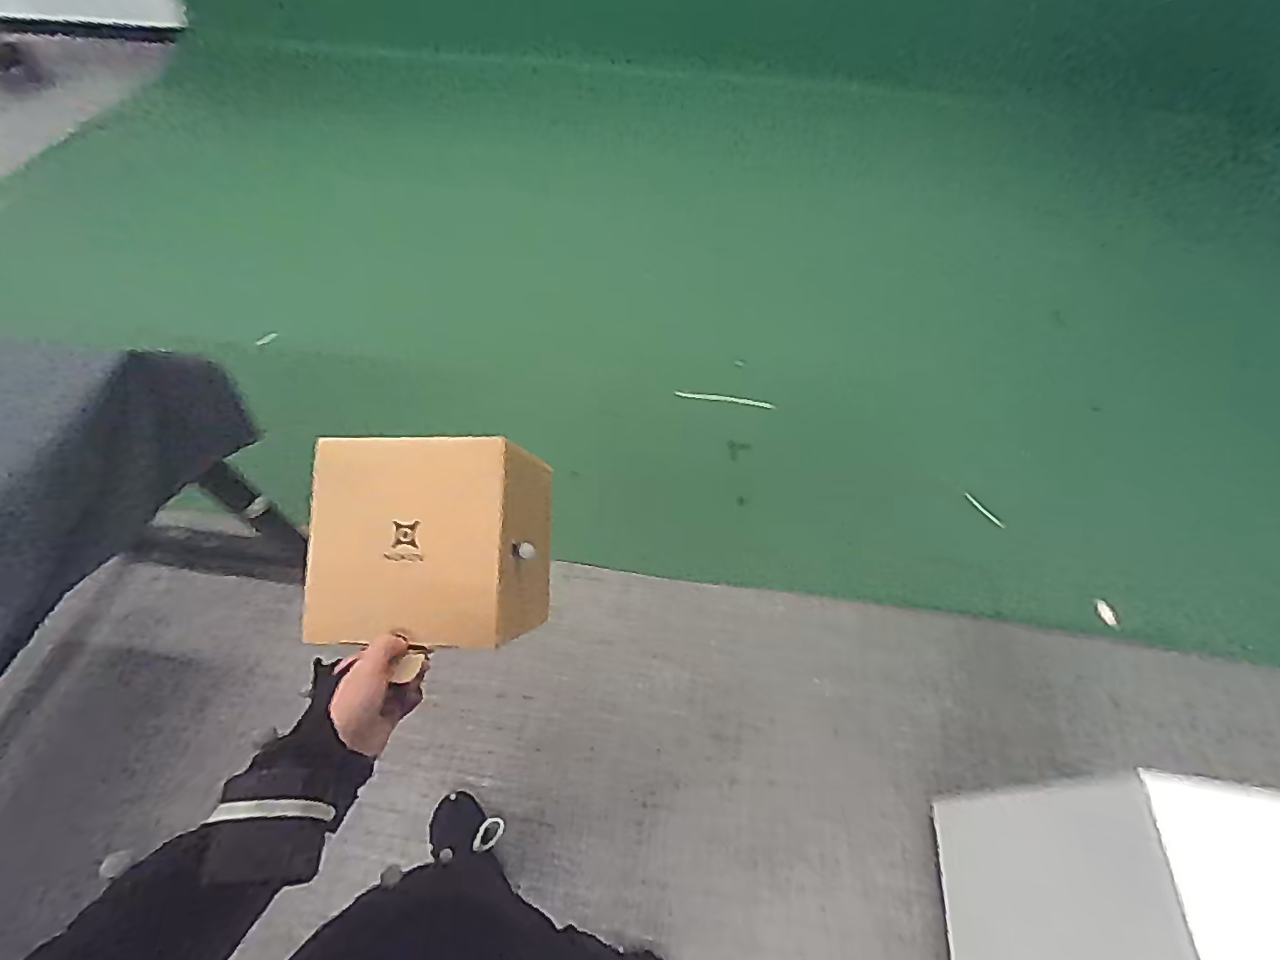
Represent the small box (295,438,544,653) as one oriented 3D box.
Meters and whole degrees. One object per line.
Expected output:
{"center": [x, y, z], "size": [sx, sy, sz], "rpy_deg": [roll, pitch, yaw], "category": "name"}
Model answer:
{"center": [-0.193, 0.062, 0.524], "size": [0.168, 0.176, 0.179], "rpy_deg": [0, 83, 3], "category": "small box"}
